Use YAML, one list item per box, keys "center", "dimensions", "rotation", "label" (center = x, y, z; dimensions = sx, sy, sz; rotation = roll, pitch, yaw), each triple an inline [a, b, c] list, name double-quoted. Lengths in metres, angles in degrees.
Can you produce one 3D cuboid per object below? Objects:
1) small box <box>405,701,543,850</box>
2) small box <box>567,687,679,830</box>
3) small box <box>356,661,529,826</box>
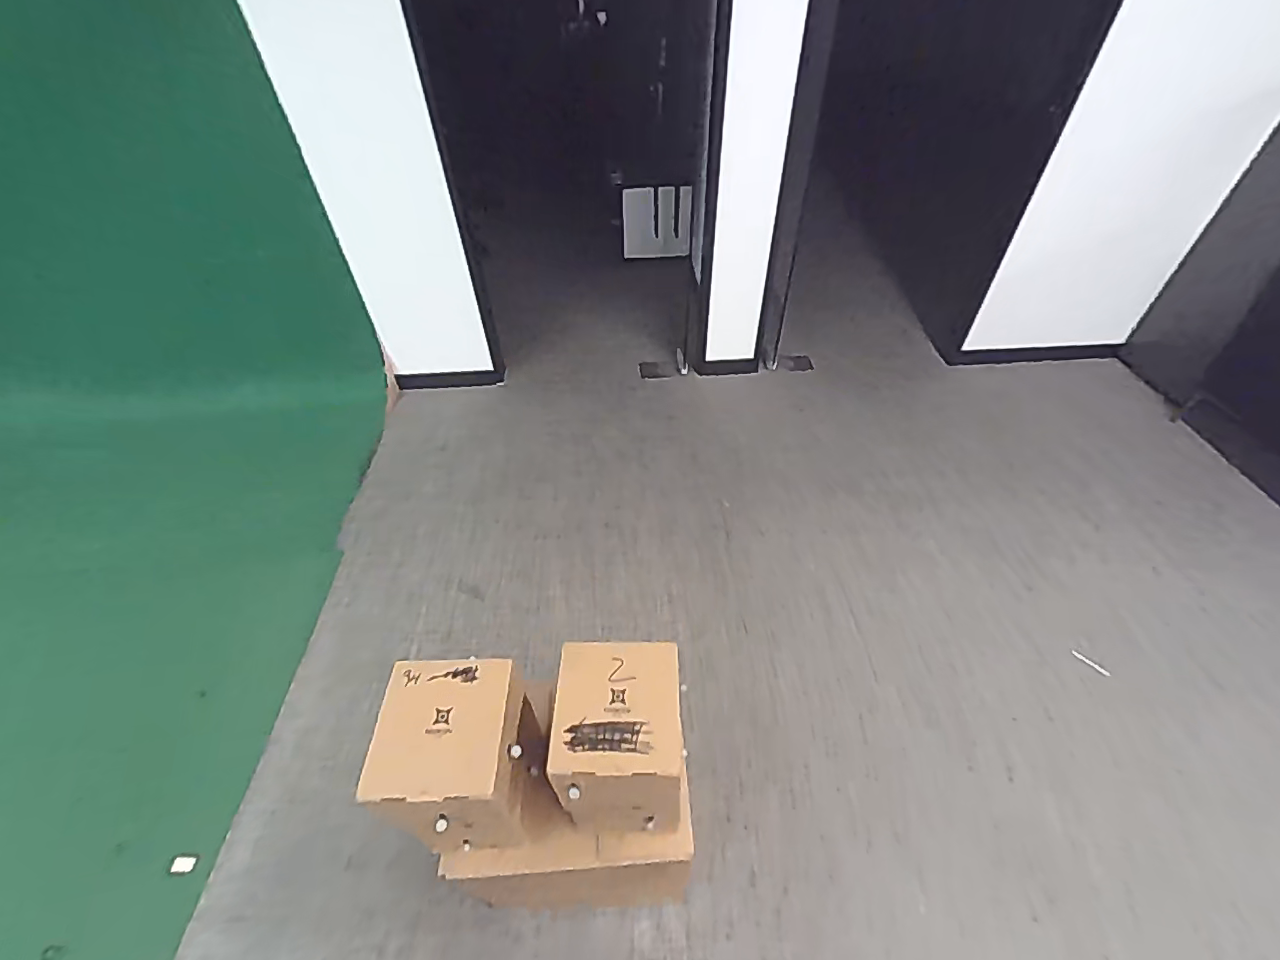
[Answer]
- center: [-0.255, 0.480, 0.878]
  dimensions: [0.168, 0.176, 0.179]
  rotation: [-2, 48, -1]
  label: "small box"
- center: [-0.019, 0.460, 0.888]
  dimensions: [0.168, 0.176, 0.179]
  rotation: [-1, 46, 2]
  label: "small box"
- center: [-0.257, 0.371, 0.755]
  dimensions: [0.168, 0.176, 0.179]
  rotation: [-1, 48, 0]
  label: "small box"
